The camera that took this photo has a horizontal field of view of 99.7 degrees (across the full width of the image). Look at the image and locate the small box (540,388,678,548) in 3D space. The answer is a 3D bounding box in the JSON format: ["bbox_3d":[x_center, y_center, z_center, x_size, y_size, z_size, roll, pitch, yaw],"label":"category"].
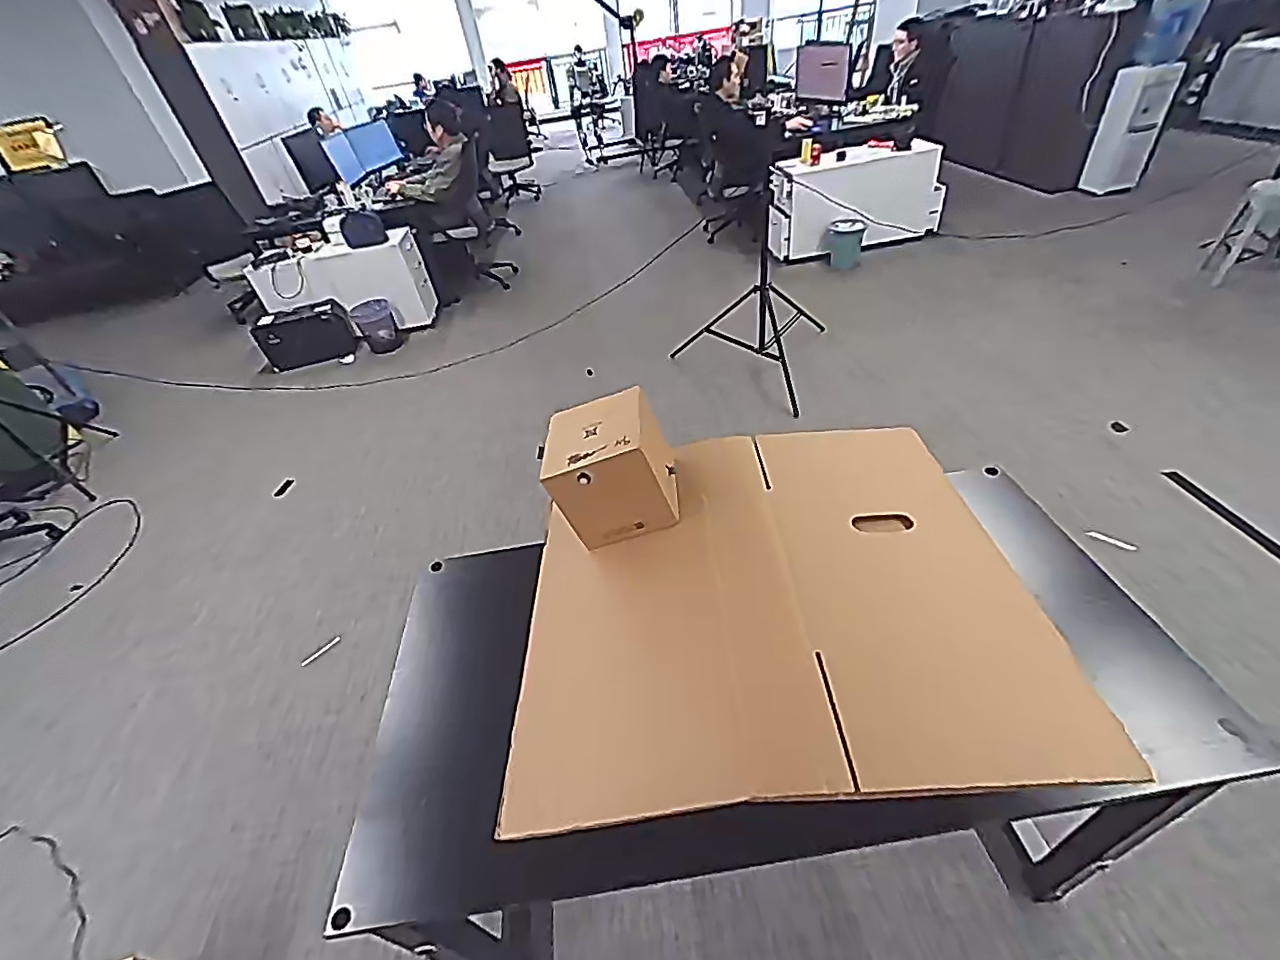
[{"bbox_3d":[-0.043,-0.018,0.896,0.168,0.176,0.179,-18,37,14],"label":"small box"}]
